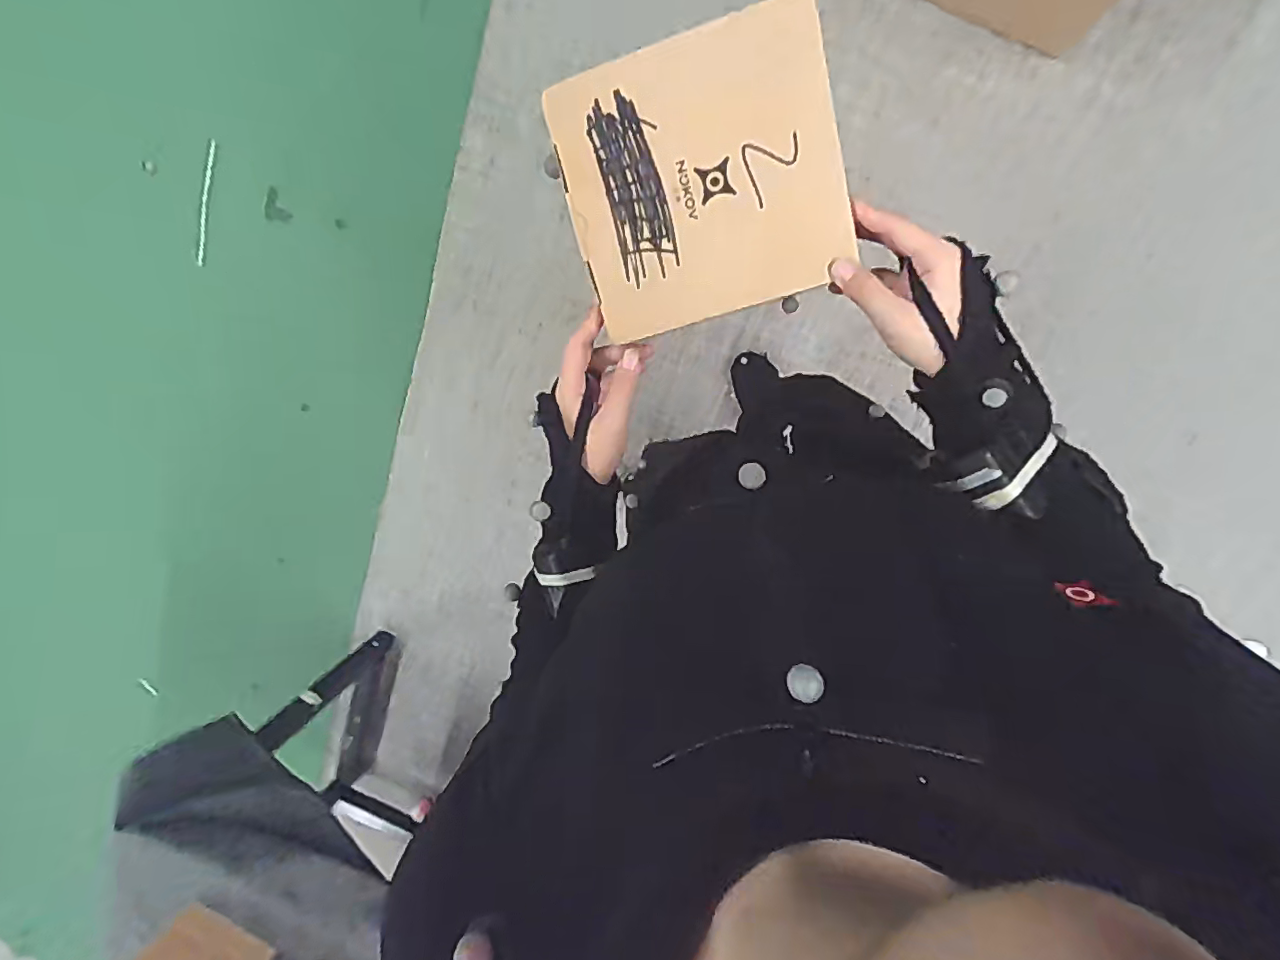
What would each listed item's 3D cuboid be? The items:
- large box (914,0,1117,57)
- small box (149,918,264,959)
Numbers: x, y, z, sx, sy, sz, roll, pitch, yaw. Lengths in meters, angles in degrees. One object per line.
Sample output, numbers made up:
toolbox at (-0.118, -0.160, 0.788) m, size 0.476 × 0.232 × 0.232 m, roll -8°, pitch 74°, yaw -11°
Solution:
large box at (0.662, -0.998, 0.876) m, size 0.408 × 0.320 × 0.320 m, roll 26°, pitch 106°, yaw 2°
small box at (-0.750, 0.874, 0.878) m, size 0.179 × 0.176 × 0.168 m, roll 28°, pitch 107°, yaw 3°
